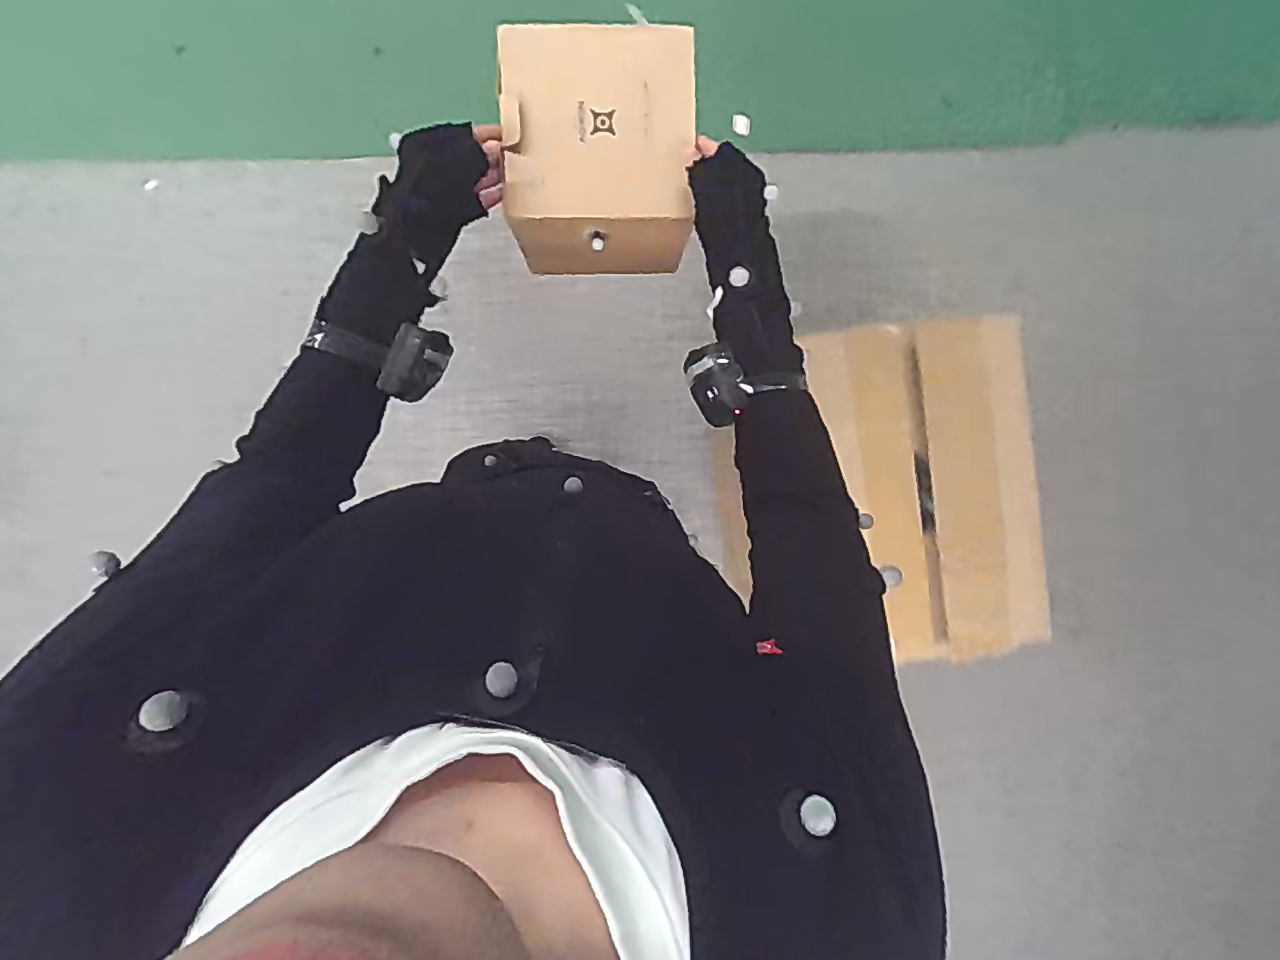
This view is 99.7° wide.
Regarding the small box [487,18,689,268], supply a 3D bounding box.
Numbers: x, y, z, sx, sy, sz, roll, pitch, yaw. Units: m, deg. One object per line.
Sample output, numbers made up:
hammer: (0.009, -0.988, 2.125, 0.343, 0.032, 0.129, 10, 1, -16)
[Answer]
small box: (-0.049, -0.329, 0.562, 0.179, 0.176, 0.168, -3, 95, -4)
